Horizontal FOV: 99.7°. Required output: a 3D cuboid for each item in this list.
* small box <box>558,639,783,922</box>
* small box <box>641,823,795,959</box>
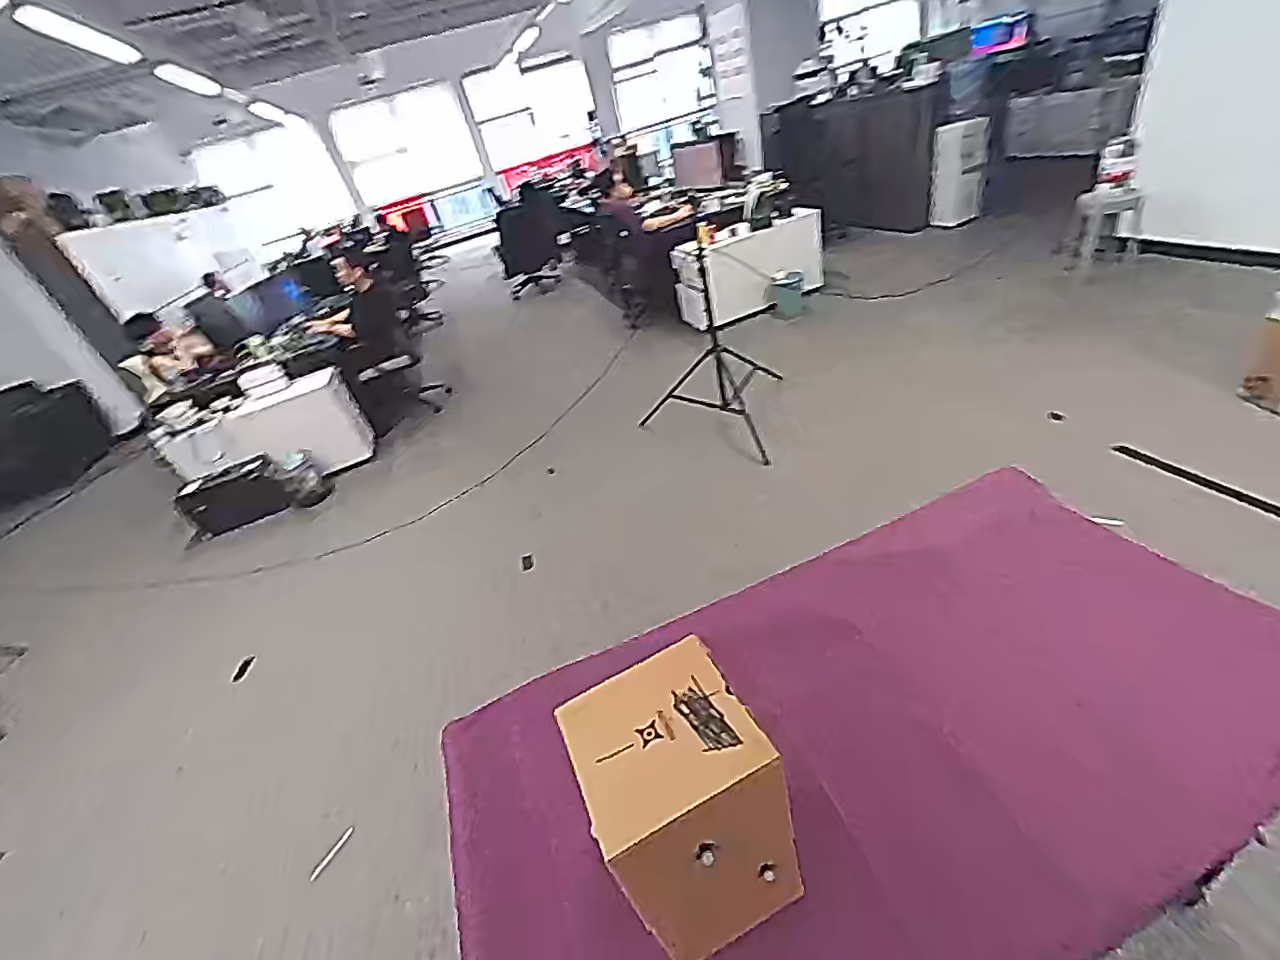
[{"bbox_3d":[0.036,0.313,0.575,0.179,0.176,0.168,-25,34,-12],"label":"small box"},{"bbox_3d":[0.072,0.443,0.669,0.179,0.176,0.168,-24,34,-12],"label":"small box"}]
